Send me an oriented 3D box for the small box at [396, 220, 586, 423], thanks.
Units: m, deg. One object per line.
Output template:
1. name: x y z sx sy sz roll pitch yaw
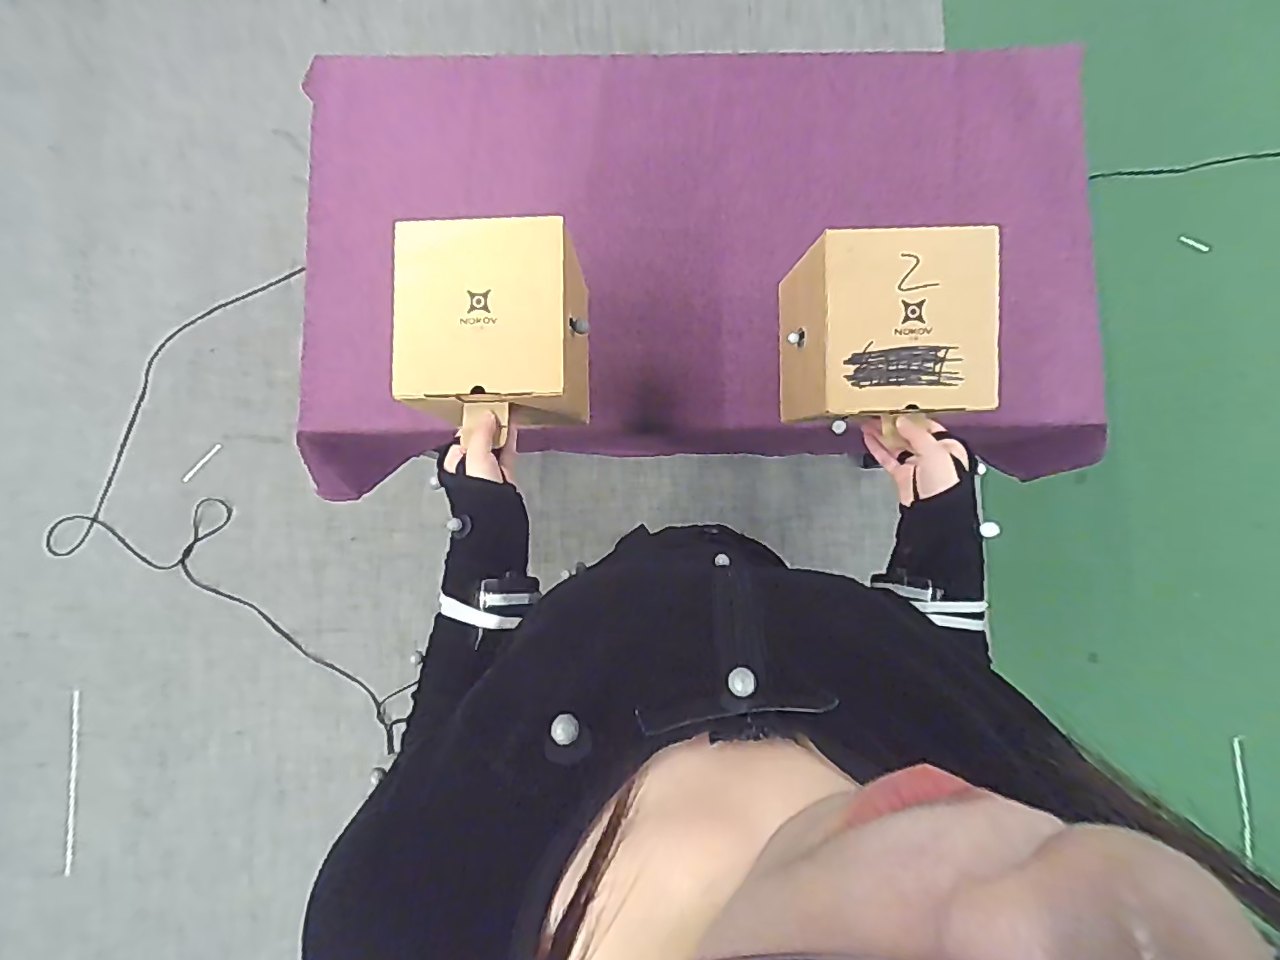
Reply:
1. small box: -0.154 -0.165 0.610 0.168 0.176 0.179 -1 86 2
